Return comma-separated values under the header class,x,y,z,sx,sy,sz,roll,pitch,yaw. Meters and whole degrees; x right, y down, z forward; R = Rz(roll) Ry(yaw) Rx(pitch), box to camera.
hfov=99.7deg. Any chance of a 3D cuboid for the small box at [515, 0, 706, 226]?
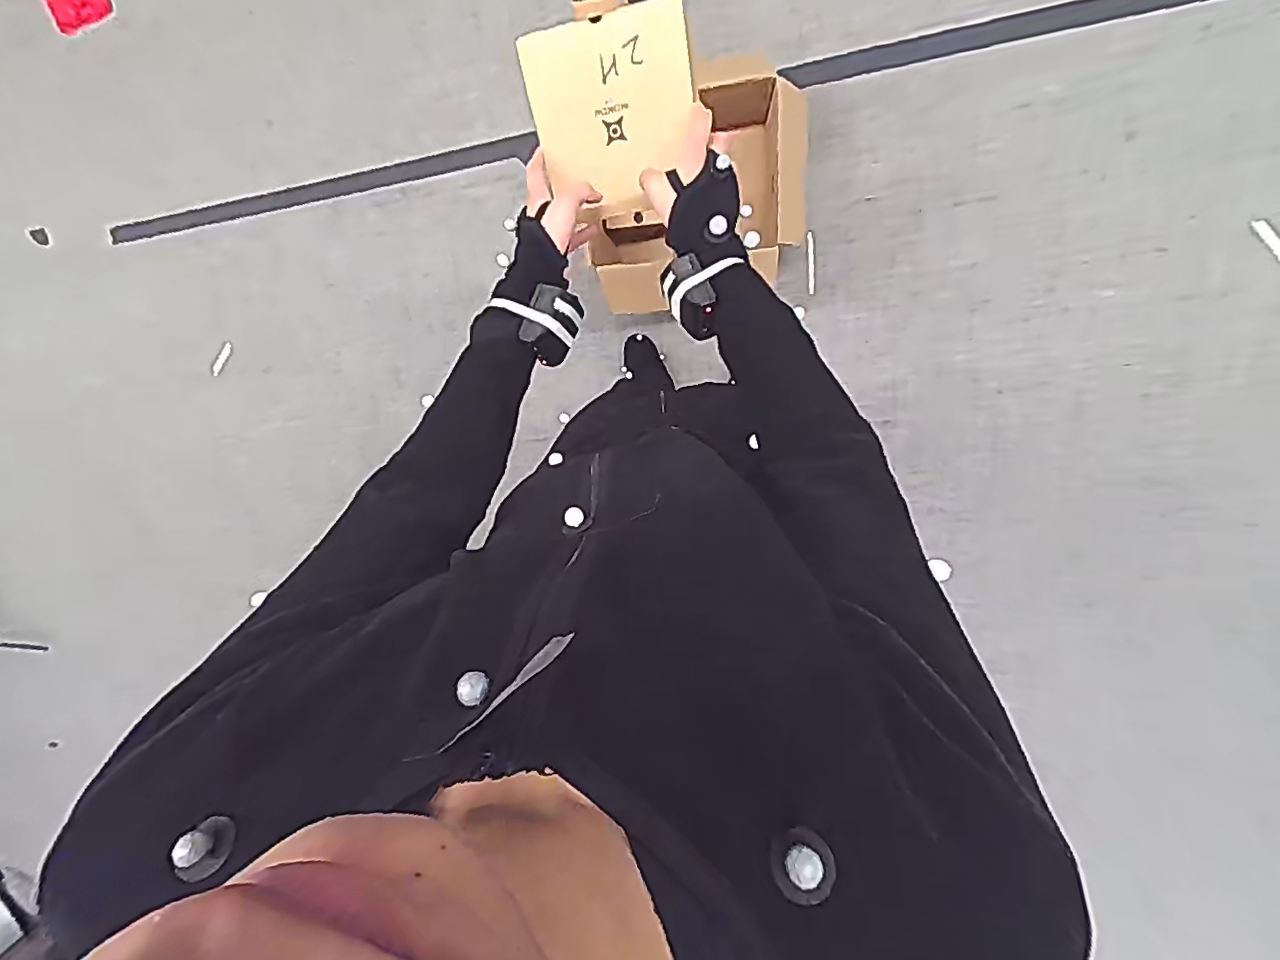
class,x,y,z,sx,sy,sz,roll,pitch,yaw
small box,-0.017,-0.406,0.615,0.168,0.176,0.179,-6,119,12
